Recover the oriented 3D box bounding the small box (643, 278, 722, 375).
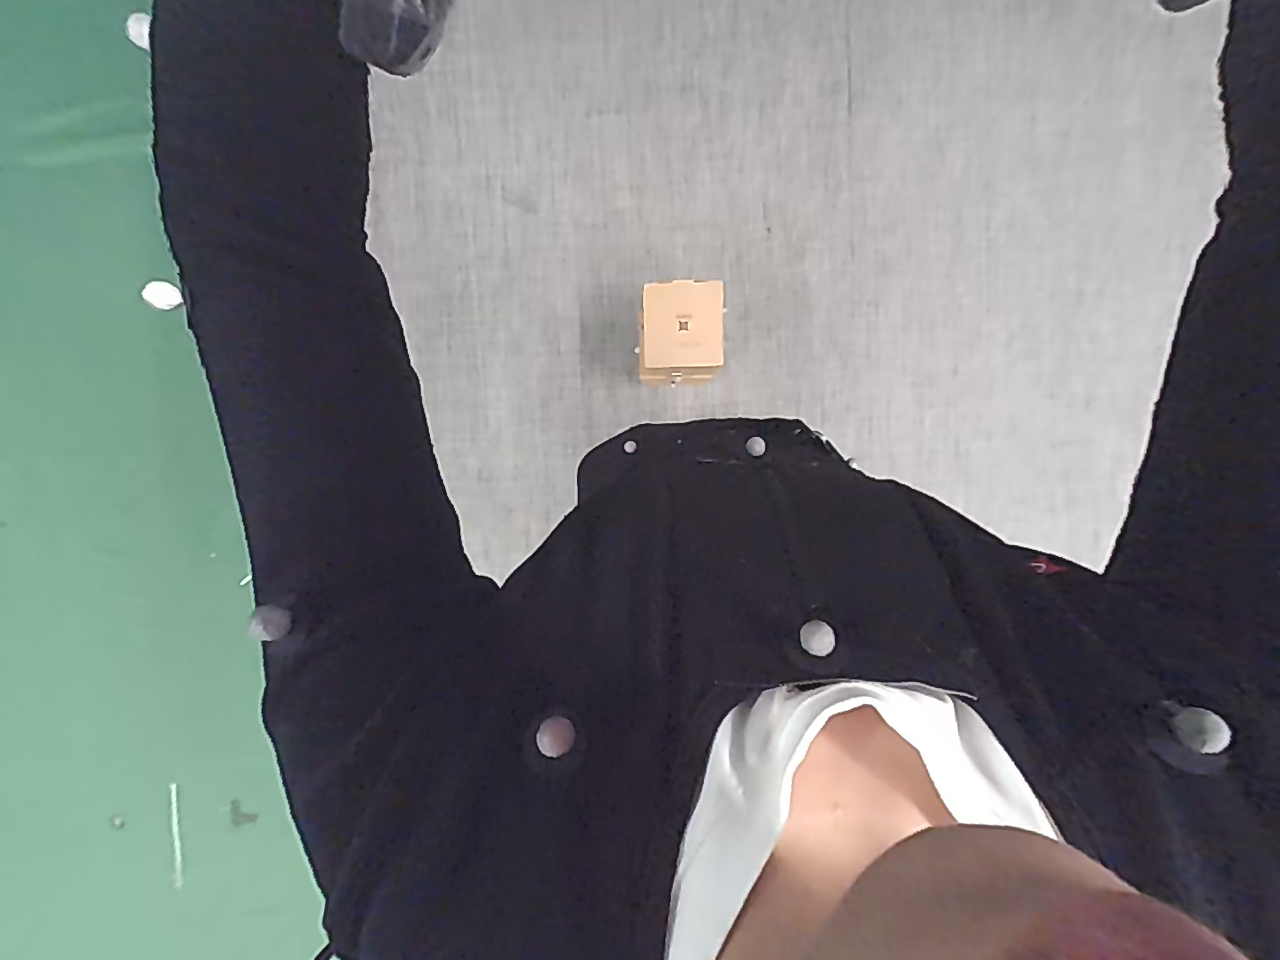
[{"bbox_3d":[0.093,-0.333,1.199,0.168,0.176,0.179,-1,94,4],"label":"small box"}]

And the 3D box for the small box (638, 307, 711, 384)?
[{"bbox_3d":[0.086,-0.335,1.361,0.179,0.176,0.168,0,93,4],"label":"small box"}]
